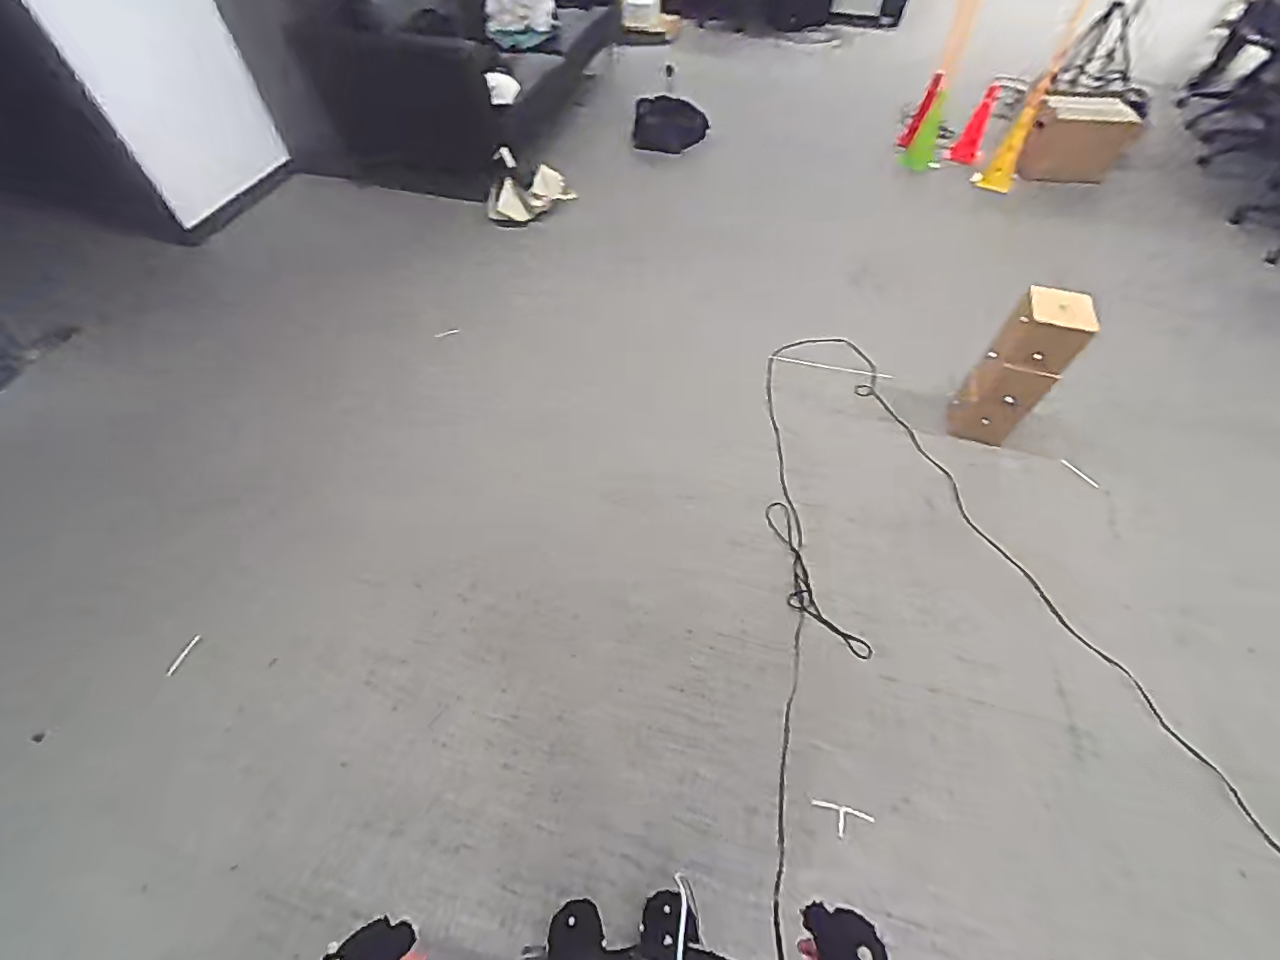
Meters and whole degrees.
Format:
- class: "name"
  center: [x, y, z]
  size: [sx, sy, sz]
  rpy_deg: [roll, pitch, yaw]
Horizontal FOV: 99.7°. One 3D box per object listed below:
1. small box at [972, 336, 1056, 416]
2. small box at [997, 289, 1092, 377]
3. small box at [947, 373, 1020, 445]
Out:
- class: "small box"
  center: [1.205, -0.340, 1.758]
  size: [0.168, 0.176, 0.179]
  rpy_deg: [16, 56, 11]
- class: "small box"
  center: [1.208, -0.442, 1.632]
  size: [0.168, 0.176, 0.179]
  rpy_deg: [15, 56, 10]
- class: "small box"
  center: [1.198, -0.245, 1.892]
  size: [0.179, 0.176, 0.168]
  rpy_deg: [15, 55, 10]
